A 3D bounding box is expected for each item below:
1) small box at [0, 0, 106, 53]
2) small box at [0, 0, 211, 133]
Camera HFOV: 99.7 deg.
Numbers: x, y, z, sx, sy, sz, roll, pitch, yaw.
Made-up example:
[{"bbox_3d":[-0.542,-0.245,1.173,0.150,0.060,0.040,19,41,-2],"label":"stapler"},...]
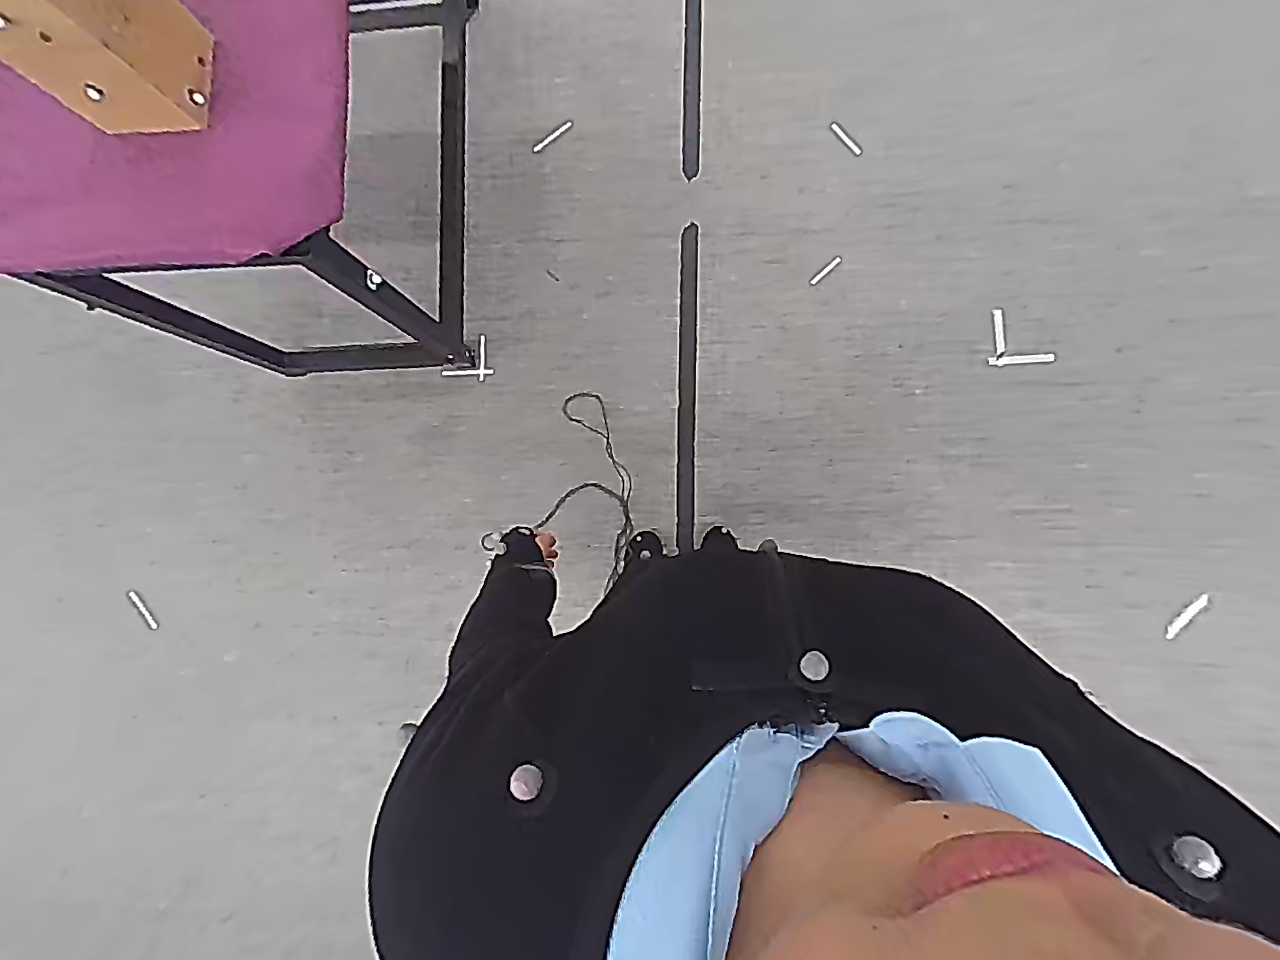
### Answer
[{"bbox_3d":[-0.798,-0.667,0.651,0.168,0.176,0.179,-1,85,4],"label":"small box"},{"bbox_3d":[-0.797,-0.658,0.816,0.179,0.176,0.168,0,85,4],"label":"small box"}]
